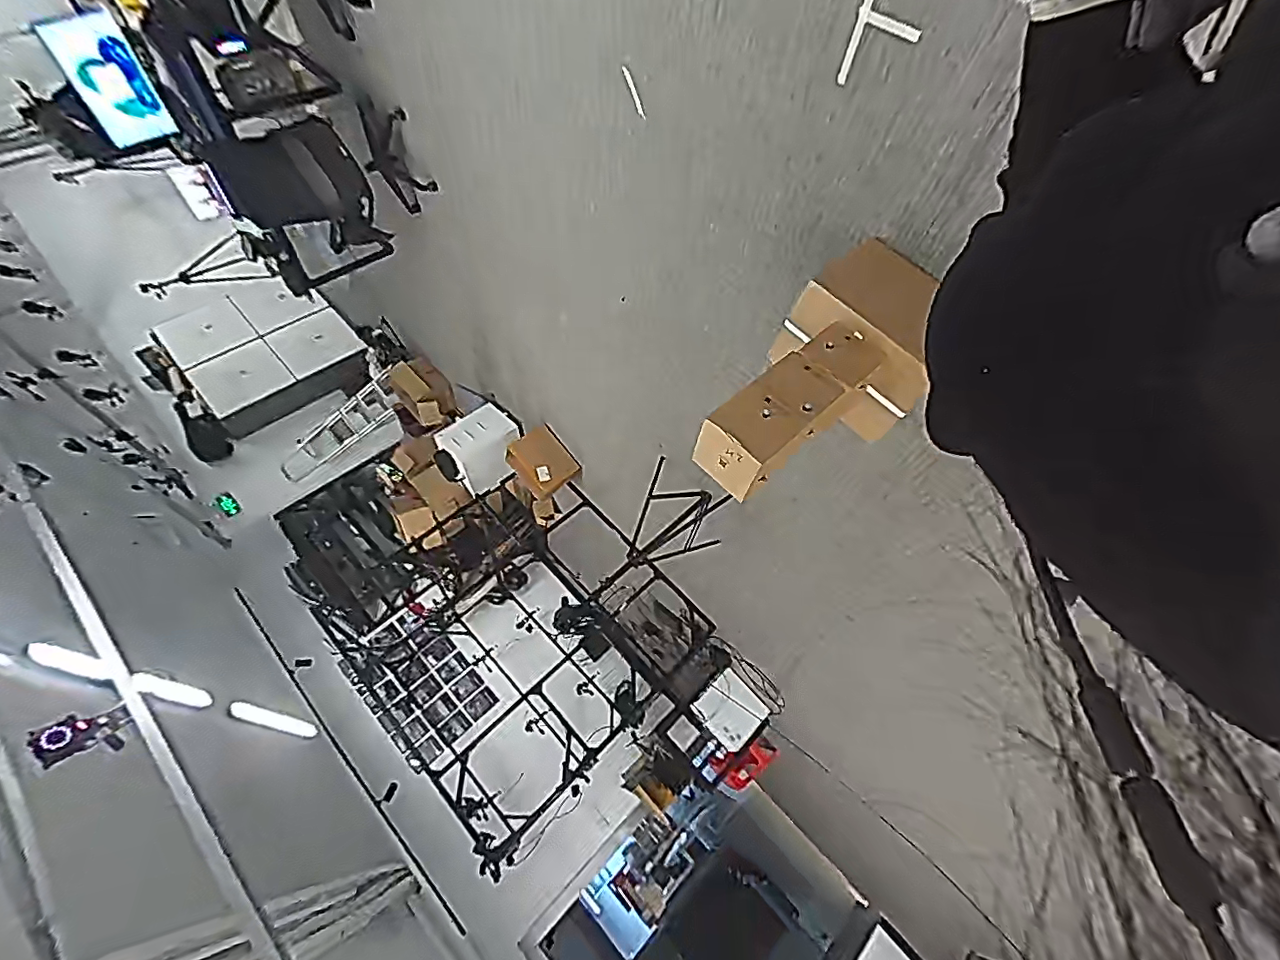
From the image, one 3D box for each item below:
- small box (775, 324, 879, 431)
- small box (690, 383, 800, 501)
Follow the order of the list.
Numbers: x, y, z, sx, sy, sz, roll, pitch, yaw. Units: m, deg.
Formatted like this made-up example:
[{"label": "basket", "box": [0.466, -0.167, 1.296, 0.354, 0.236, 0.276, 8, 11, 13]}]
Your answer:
[{"label": "small box", "box": [0.483, -0.269, 1.392, 0.168, 0.176, 0.179, 43, 154, 20]}, {"label": "small box", "box": [0.243, -0.089, 1.257, 0.168, 0.176, 0.179, 43, 154, 17]}]
